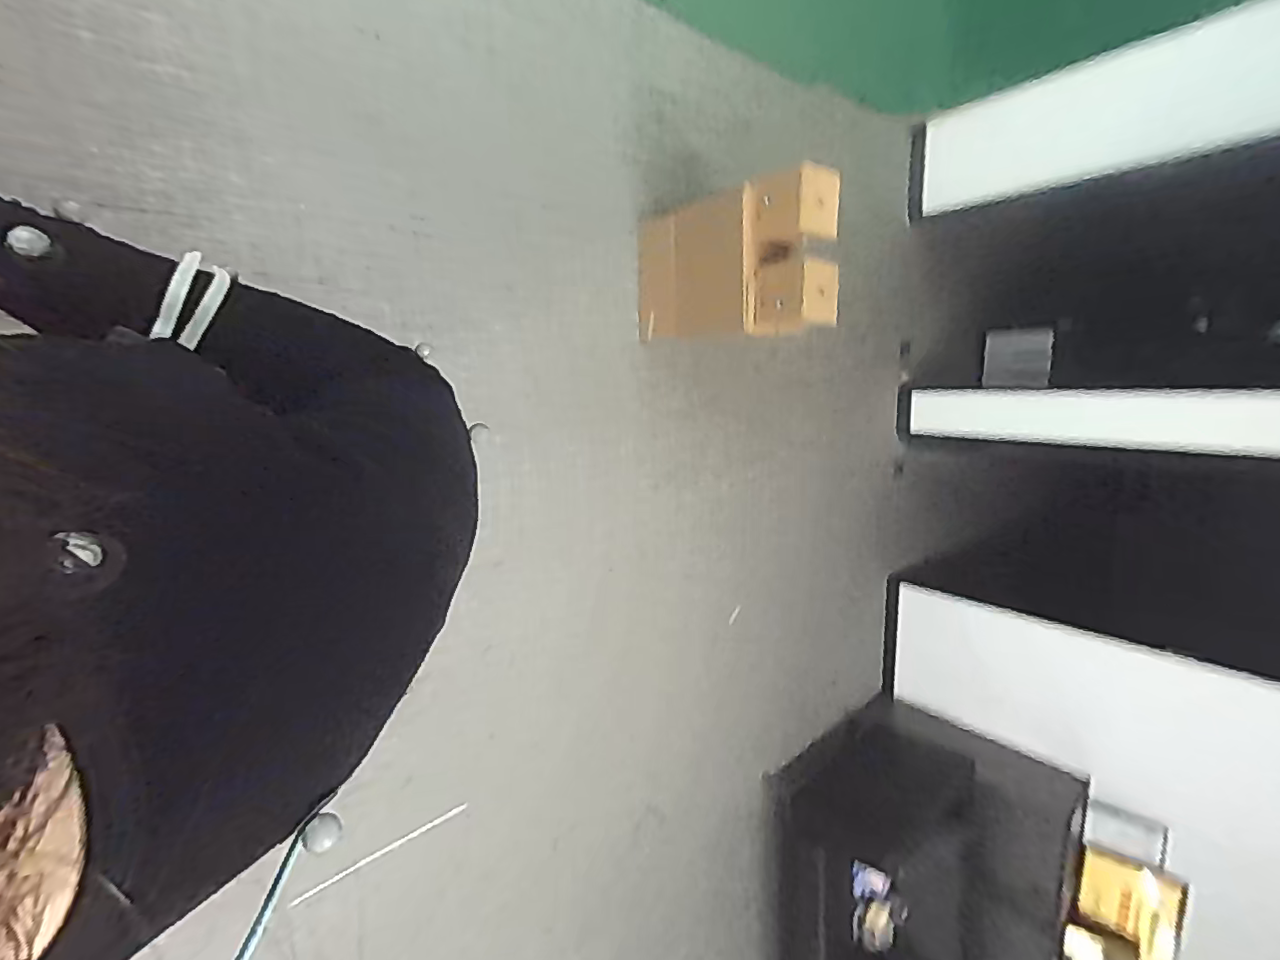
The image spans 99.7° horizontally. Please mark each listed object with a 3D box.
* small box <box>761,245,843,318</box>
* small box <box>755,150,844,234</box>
[{"bbox_3d":[0.470,-0.572,1.580,0.179,0.176,0.168,-9,102,-40],"label":"small box"},{"bbox_3d":[0.447,-0.801,1.524,0.179,0.176,0.168,-11,106,-36],"label":"small box"}]
